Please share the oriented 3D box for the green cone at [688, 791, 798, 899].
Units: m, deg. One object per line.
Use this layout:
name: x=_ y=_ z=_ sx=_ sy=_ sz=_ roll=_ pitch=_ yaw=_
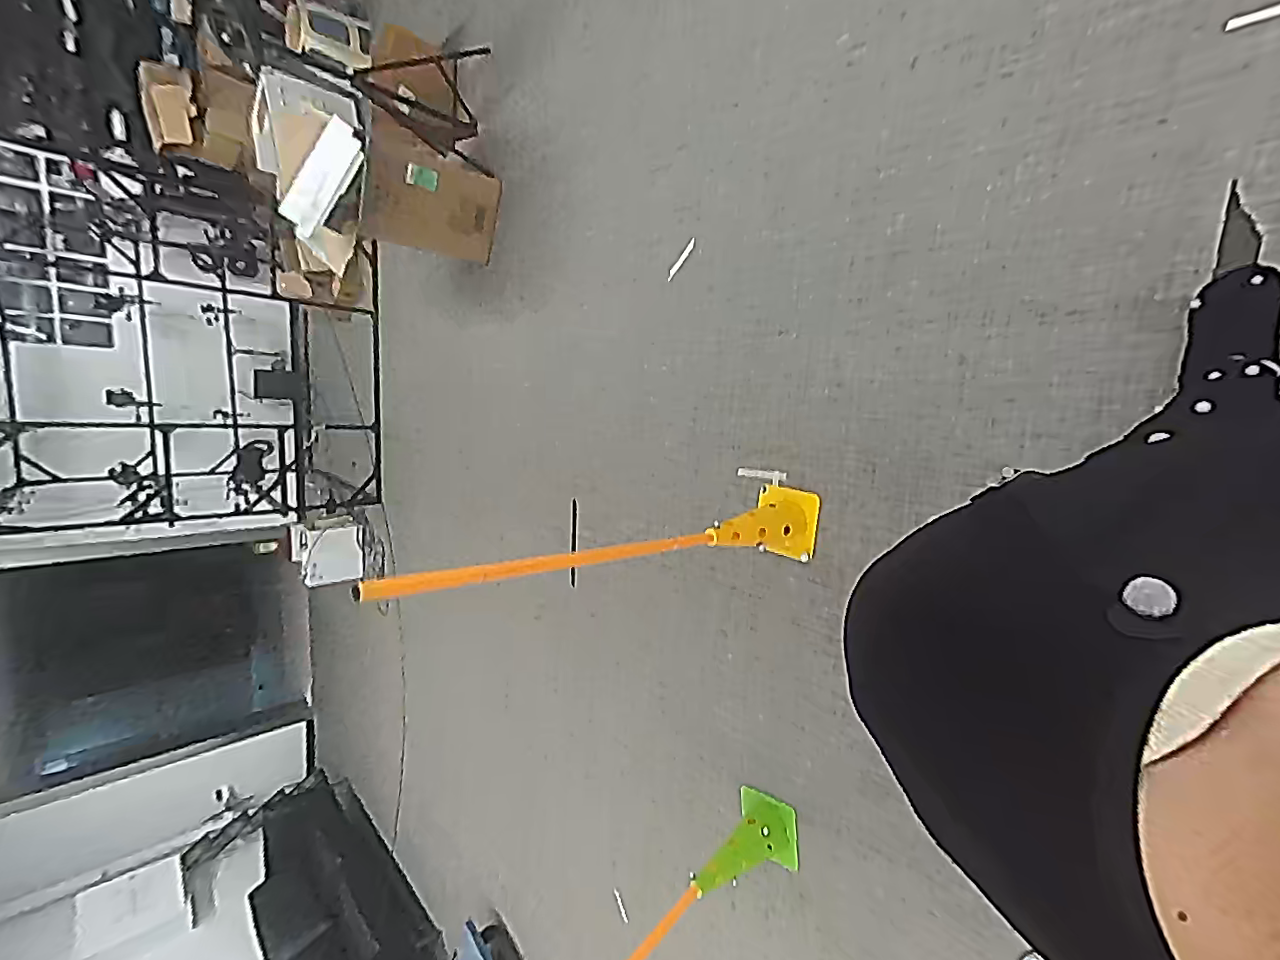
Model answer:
green cone: x=0.277 y=1.105 z=1.568 sx=0.200 sy=0.368 sz=0.202 roll=-4 pitch=88 yaw=46
